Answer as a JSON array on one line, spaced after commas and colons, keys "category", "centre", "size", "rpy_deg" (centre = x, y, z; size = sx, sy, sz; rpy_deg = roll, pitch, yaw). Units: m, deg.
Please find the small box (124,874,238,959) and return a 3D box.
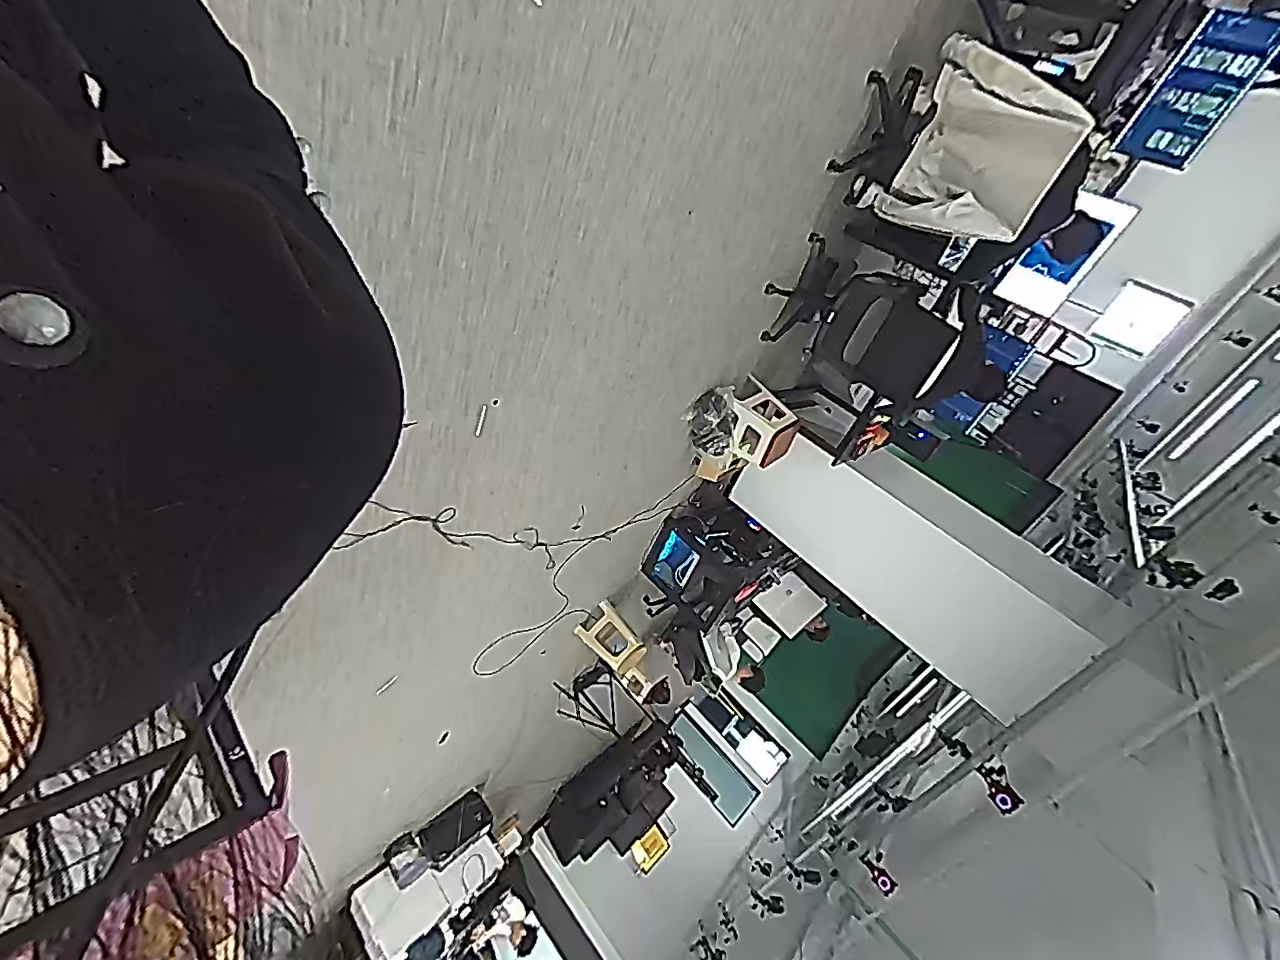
[{"category": "small box", "centre": [-1.091, 1.100, 1.286], "size": [0.179, 0.176, 0.168], "rpy_deg": [-18, 143, -46]}]
